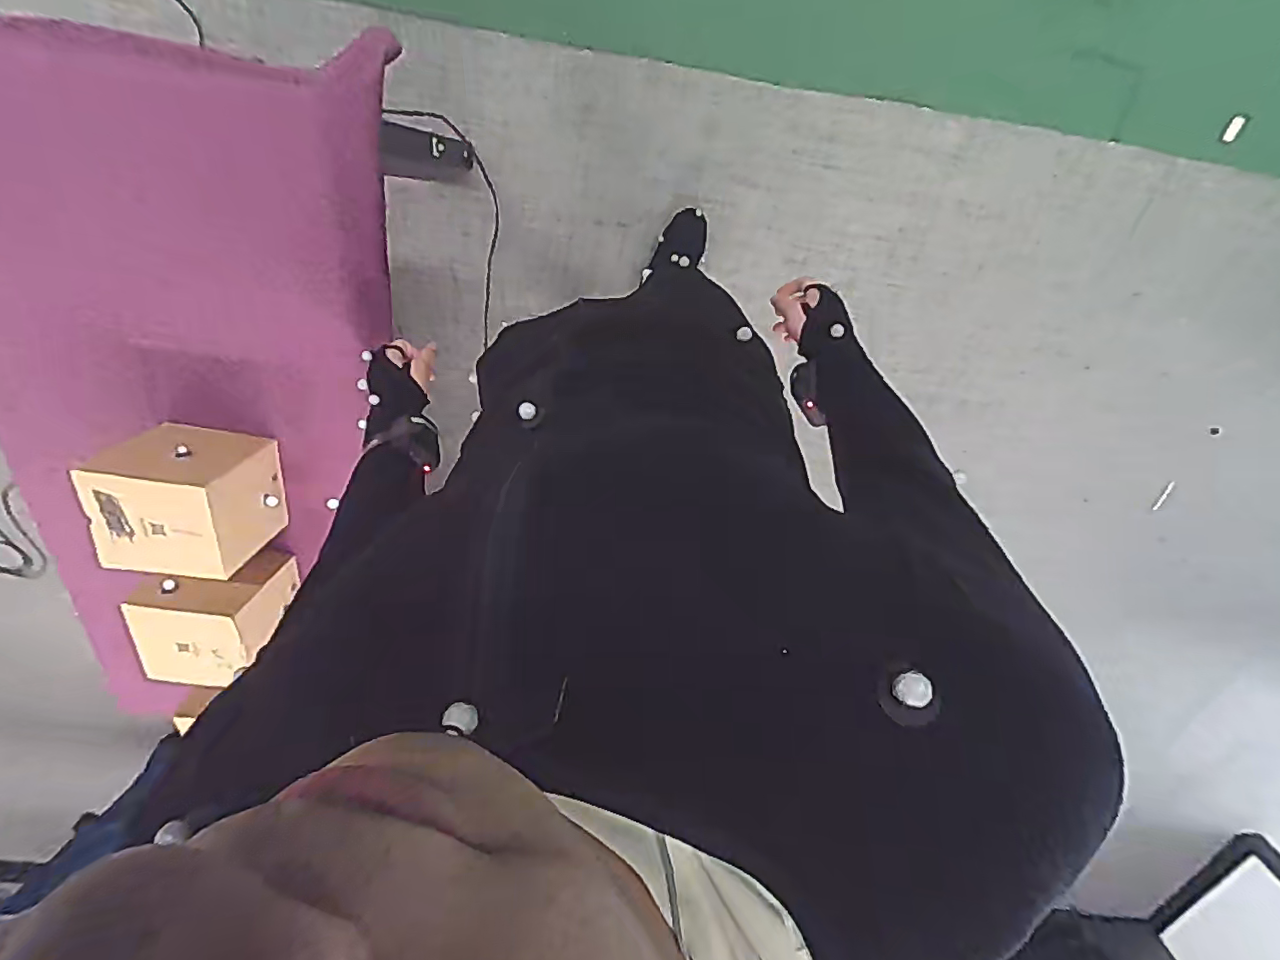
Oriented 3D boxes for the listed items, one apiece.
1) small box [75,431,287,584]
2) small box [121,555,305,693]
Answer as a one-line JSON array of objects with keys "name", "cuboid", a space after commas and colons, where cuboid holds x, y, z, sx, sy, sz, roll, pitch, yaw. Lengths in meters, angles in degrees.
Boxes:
[{"name": "small box", "cuboid": [-0.692, 0.035, 0.841, 0.179, 0.176, 0.168, 9, 117, -5]}, {"name": "small box", "cuboid": [-0.730, 0.242, 0.947, 0.179, 0.176, 0.168, 8, 117, -4]}]
